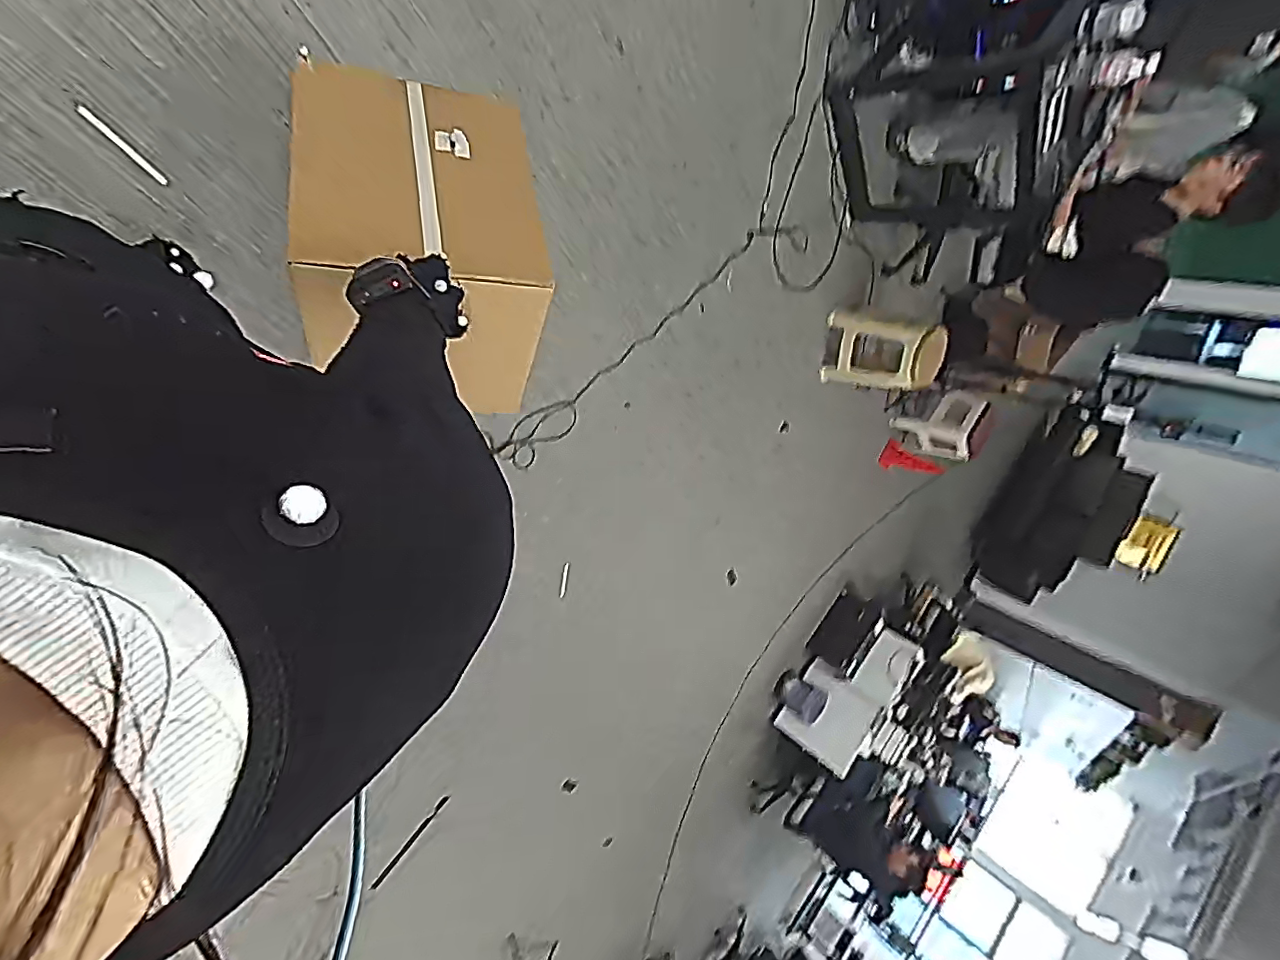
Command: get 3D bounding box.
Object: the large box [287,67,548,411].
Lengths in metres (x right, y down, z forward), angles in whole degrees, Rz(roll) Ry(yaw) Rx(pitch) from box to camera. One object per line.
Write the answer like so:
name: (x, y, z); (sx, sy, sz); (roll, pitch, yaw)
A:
large box: (-0.367, -0.364, 0.886); (0.320, 0.408, 0.320); (-4, 154, -26)
